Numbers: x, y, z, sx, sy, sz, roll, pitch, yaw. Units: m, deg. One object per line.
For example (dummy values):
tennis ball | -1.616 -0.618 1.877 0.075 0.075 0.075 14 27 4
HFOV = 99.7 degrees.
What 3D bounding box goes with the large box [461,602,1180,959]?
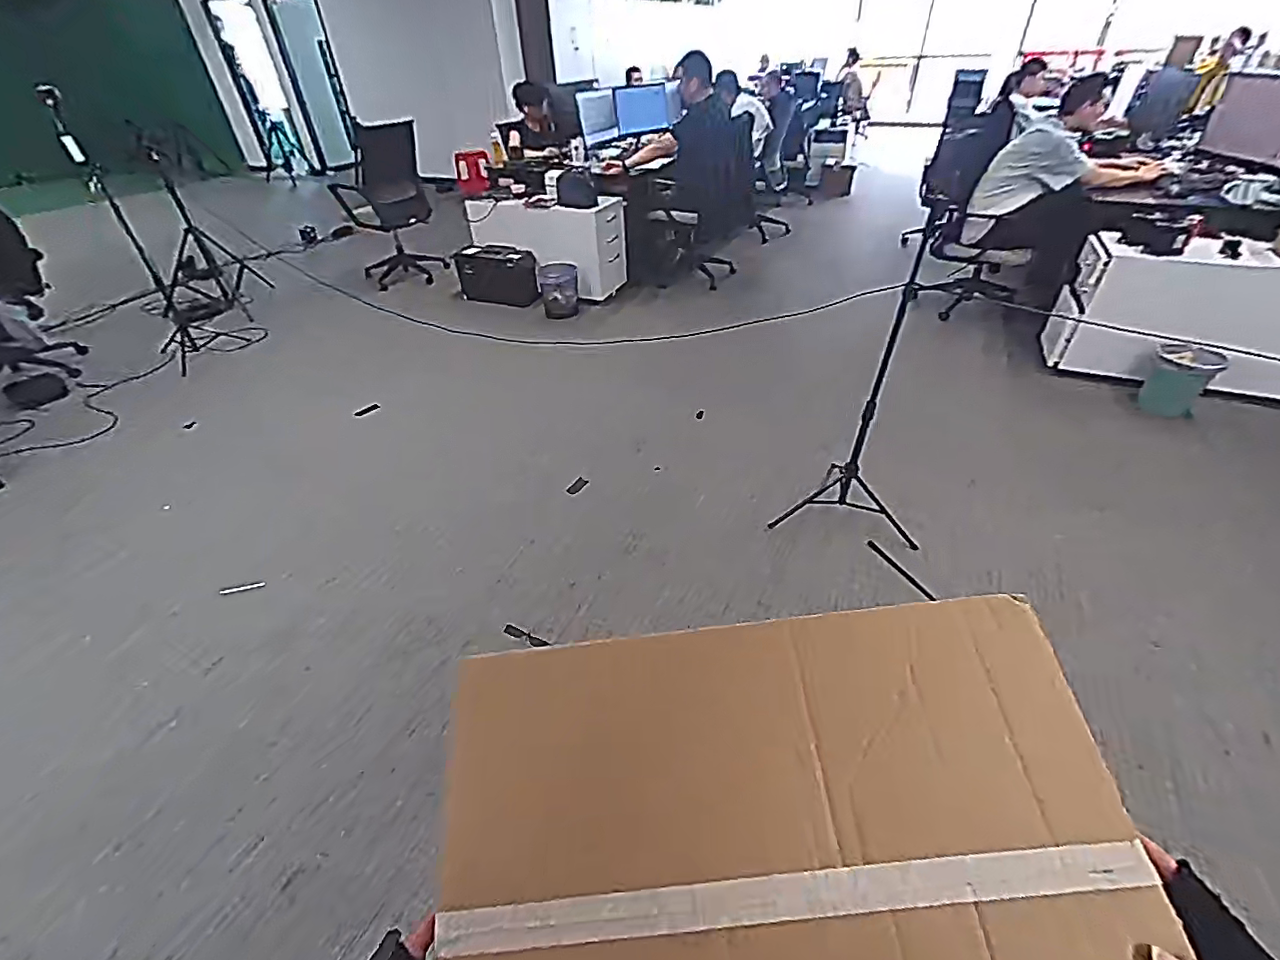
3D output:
large box | 0.102 0.321 0.446 0.408 0.320 0.320 -8 61 2
